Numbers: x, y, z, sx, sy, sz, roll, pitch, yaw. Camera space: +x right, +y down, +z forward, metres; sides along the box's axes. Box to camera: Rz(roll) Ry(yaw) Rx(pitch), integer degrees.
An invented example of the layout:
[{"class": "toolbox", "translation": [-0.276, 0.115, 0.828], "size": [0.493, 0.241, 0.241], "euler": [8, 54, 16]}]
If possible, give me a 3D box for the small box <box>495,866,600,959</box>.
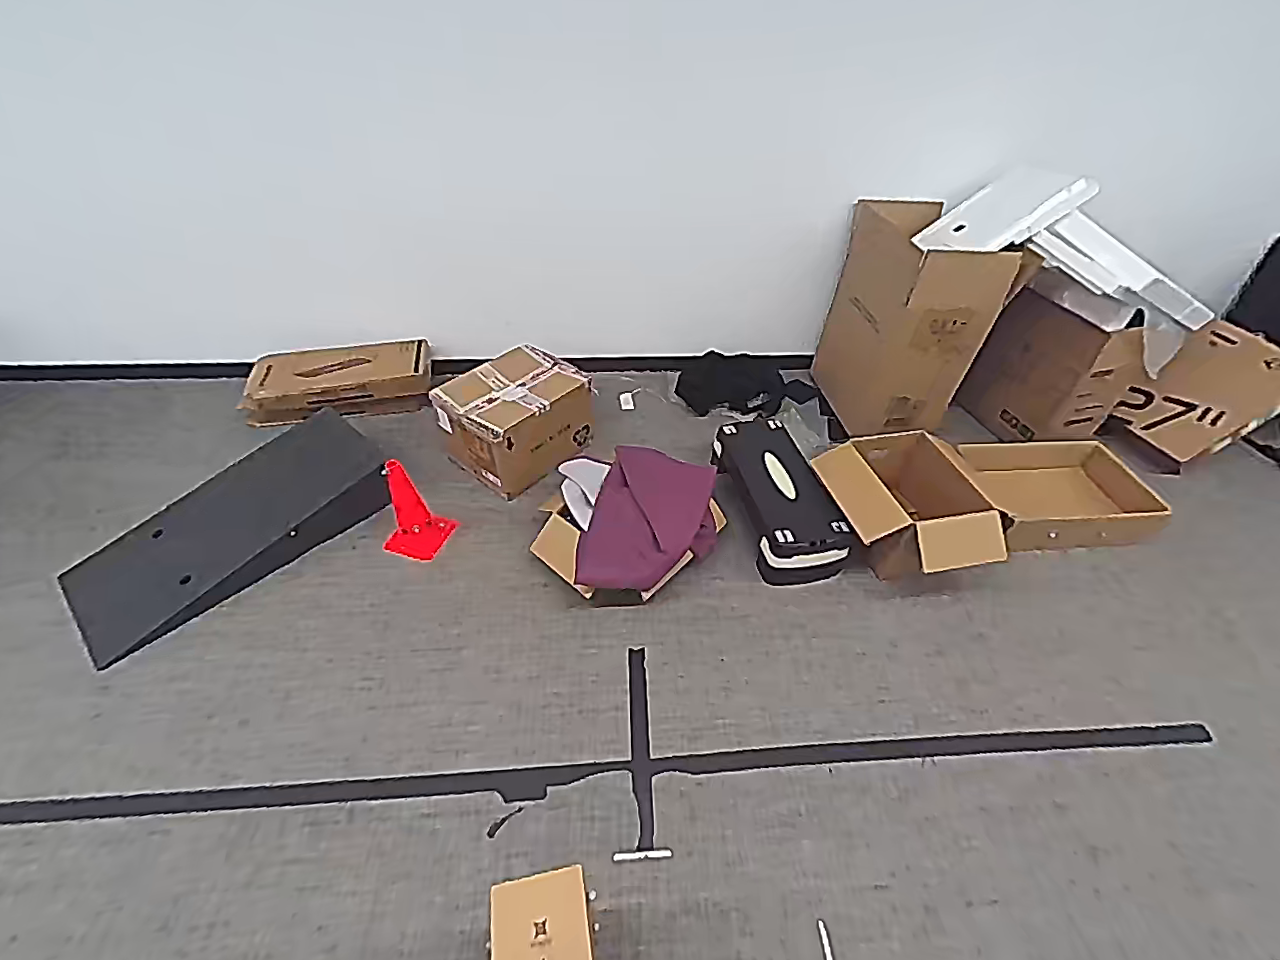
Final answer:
[{"class": "small box", "translation": [-0.162, 0.829, 0.966], "size": [0.168, 0.176, 0.179], "euler": [-9, 44, -8]}]
